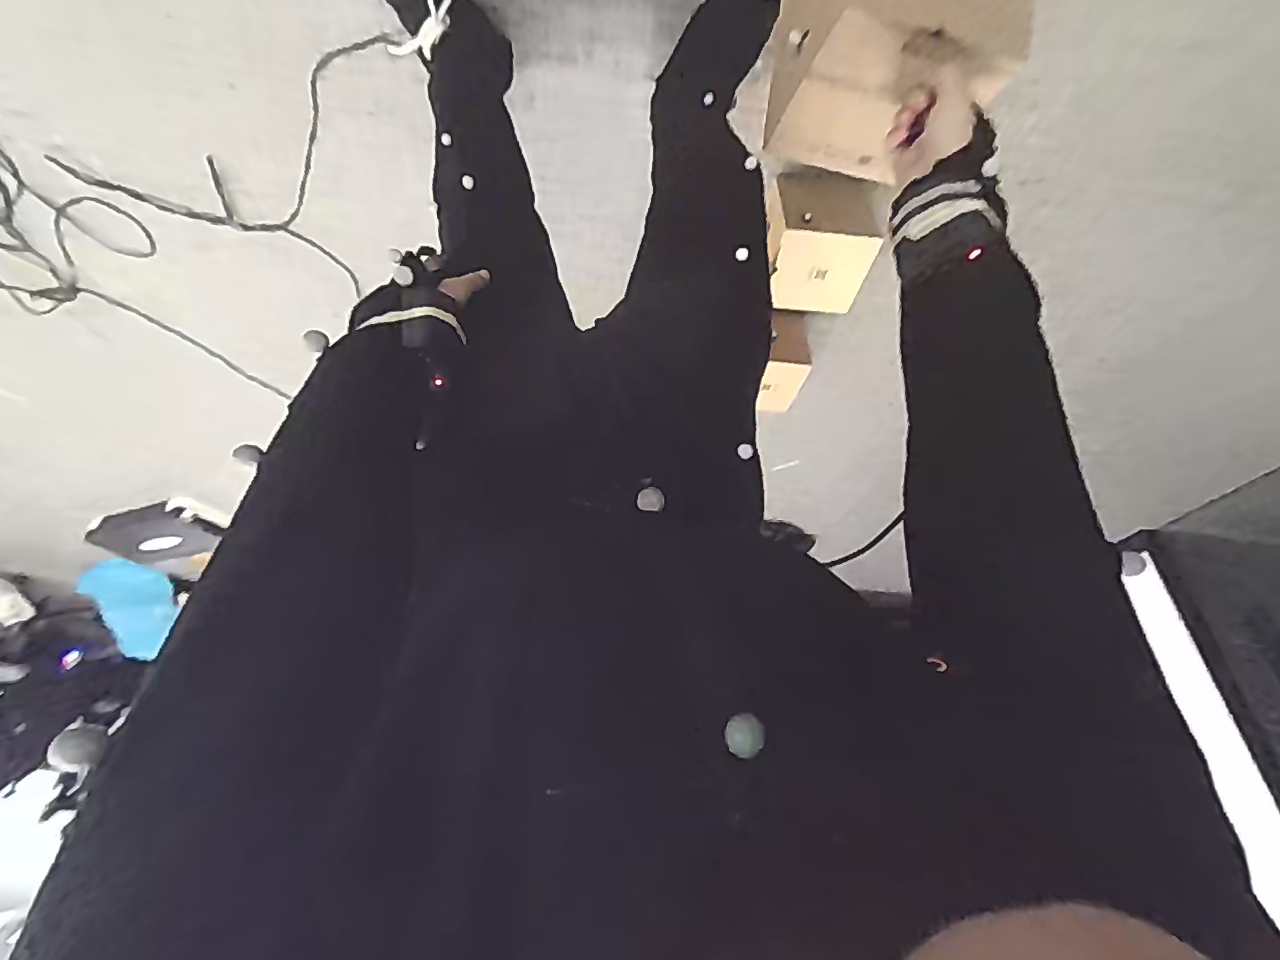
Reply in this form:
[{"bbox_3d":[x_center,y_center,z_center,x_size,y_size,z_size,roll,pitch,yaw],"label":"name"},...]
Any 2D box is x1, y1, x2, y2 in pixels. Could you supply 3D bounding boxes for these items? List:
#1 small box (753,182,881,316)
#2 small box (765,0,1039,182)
[{"bbox_3d":[0.322,-0.436,1.022,0.179,0.176,0.168,4,148,-2],"label":"small box"},{"bbox_3d":[0.228,-0.415,0.497,0.168,0.179,0.176,11,175,-7],"label":"small box"}]
